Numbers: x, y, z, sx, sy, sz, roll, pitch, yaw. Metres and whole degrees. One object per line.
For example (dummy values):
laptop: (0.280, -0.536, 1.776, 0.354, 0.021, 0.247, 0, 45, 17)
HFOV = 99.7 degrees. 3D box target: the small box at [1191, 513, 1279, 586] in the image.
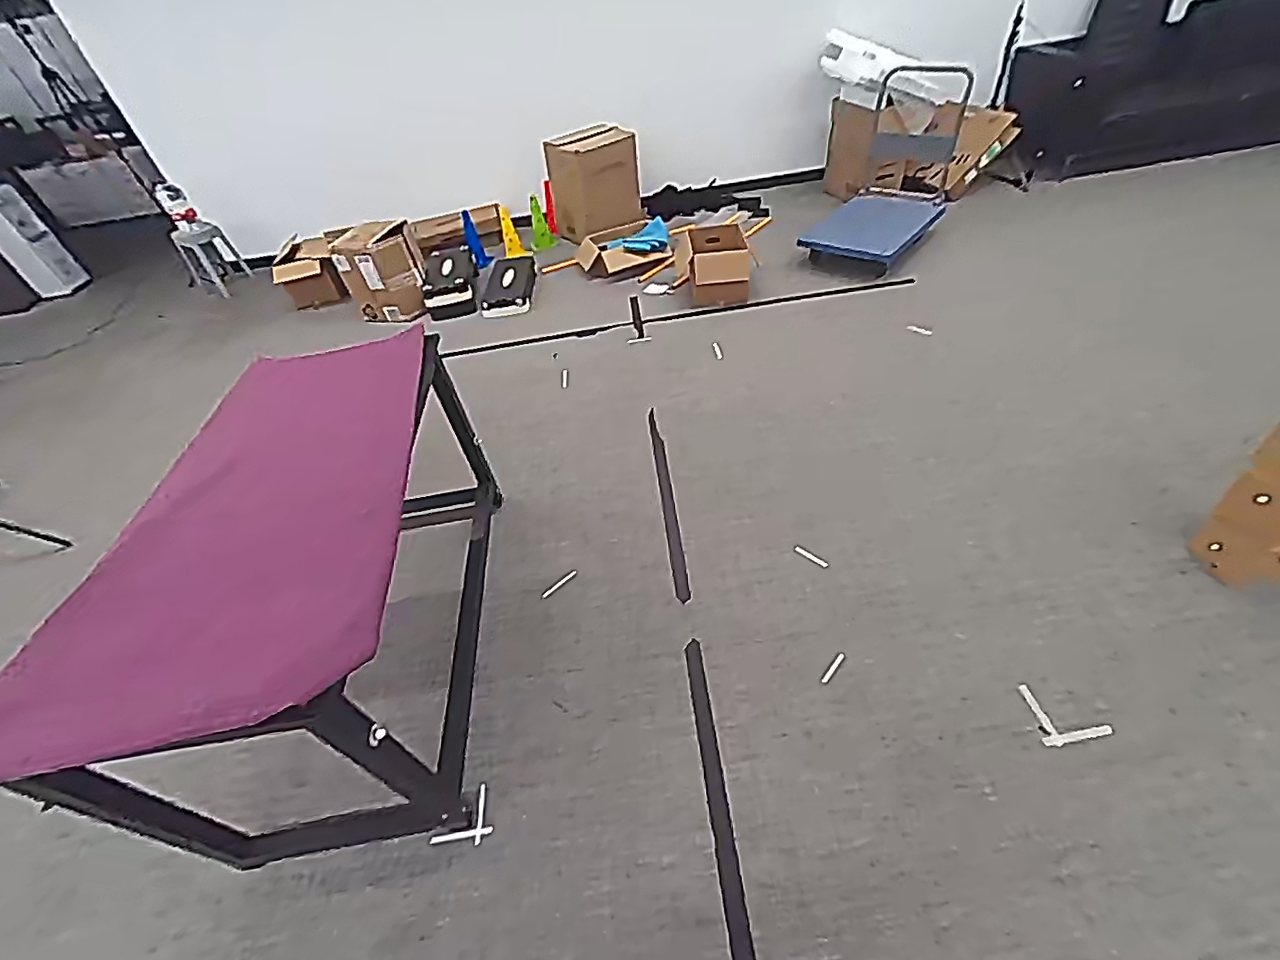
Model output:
small box: (1.783, 0.193, 1.579, 0.179, 0.176, 0.168, -7, 44, 2)

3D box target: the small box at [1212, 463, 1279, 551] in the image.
small box: (1.753, 0.074, 1.471, 0.168, 0.176, 0.179, -13, 43, -4)
